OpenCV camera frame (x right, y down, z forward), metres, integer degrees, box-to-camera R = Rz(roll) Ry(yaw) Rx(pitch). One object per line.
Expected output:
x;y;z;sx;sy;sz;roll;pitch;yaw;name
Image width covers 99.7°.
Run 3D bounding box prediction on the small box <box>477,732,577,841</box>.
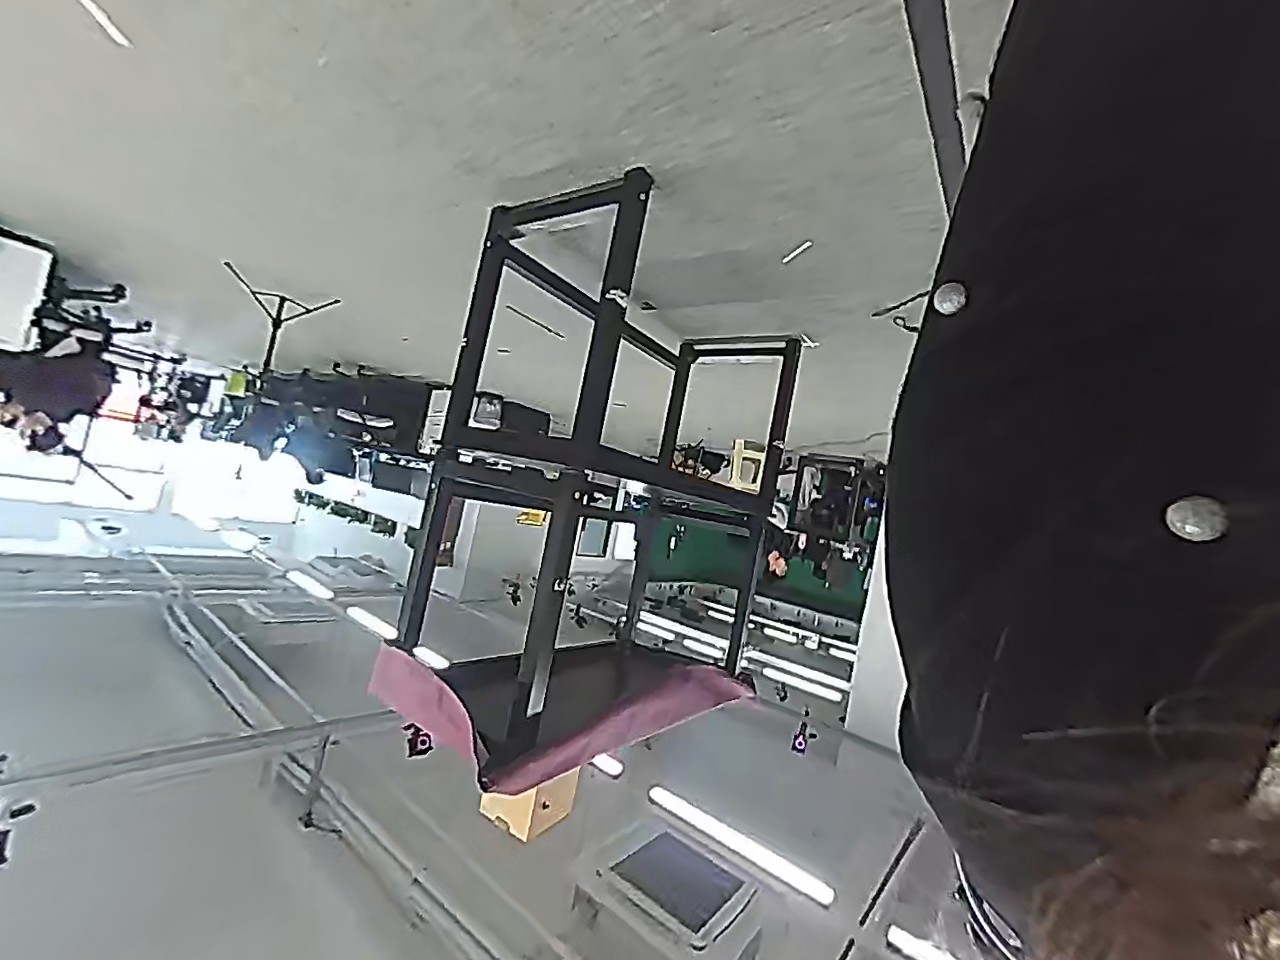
-0.286;0.775;1.393;0.168;0.176;0.179;11;179;31;small box
